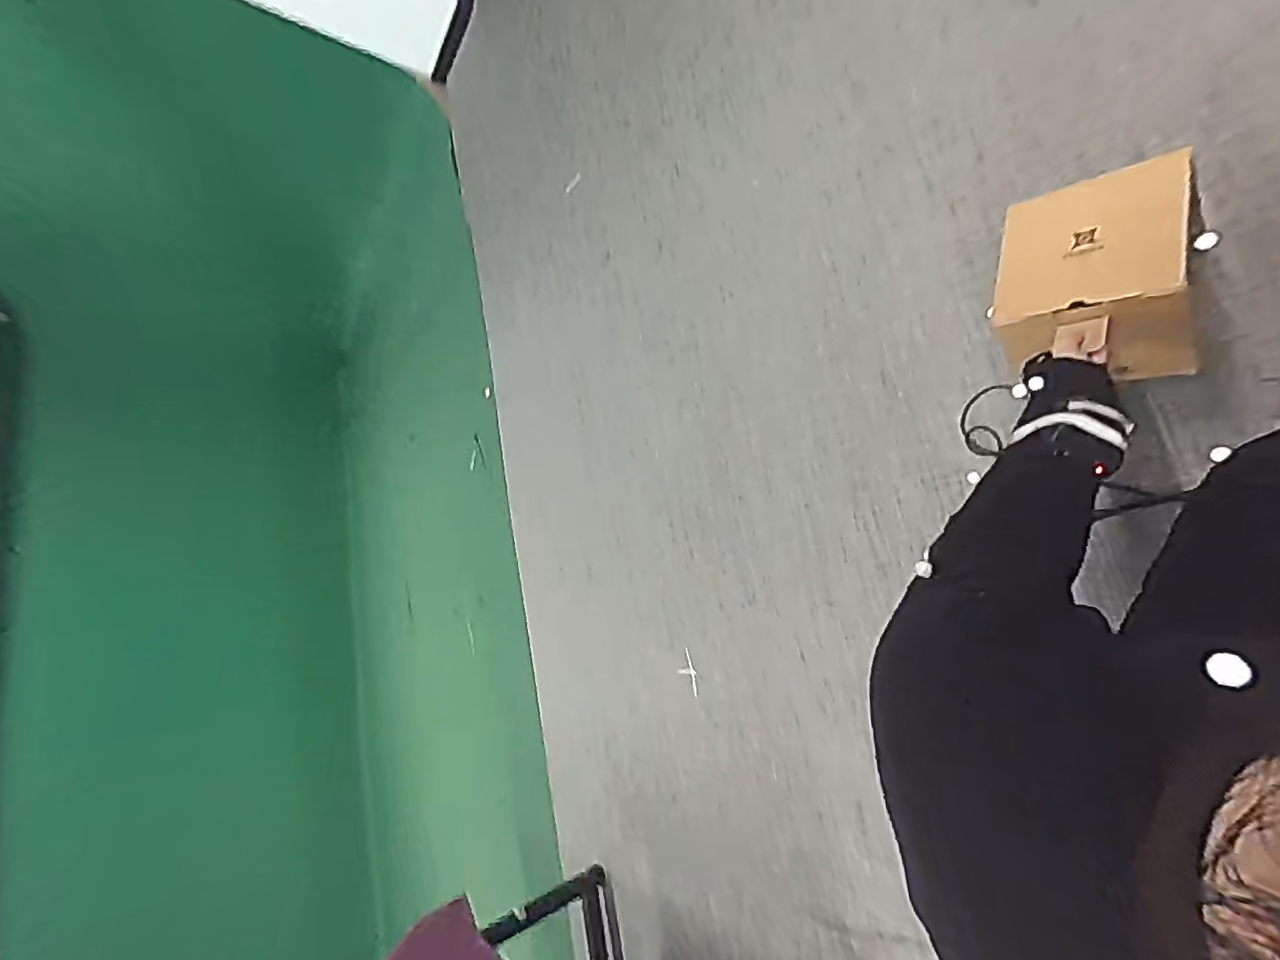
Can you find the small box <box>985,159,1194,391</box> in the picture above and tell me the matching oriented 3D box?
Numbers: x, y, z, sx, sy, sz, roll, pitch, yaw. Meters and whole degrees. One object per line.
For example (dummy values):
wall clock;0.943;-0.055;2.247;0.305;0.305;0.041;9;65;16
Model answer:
small box;0.547;-0.231;0.656;0.168;0.176;0.179;0;69;49
